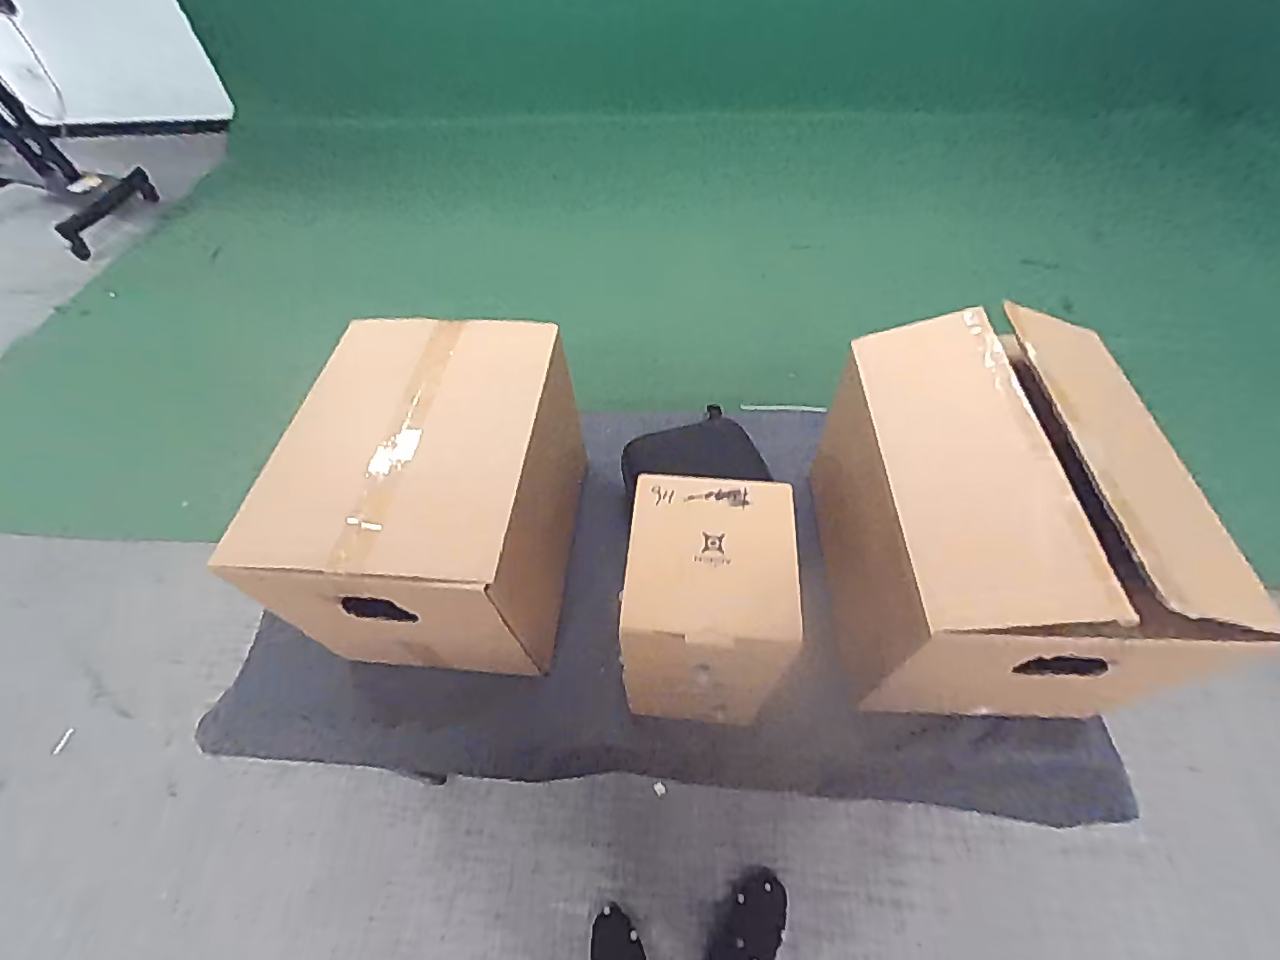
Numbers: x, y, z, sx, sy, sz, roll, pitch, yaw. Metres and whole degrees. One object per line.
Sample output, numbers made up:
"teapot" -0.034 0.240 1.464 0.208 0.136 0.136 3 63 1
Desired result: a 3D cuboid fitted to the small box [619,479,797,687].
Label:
"small box" 0.073 0.119 0.602 0.168 0.176 0.179 4 56 4
